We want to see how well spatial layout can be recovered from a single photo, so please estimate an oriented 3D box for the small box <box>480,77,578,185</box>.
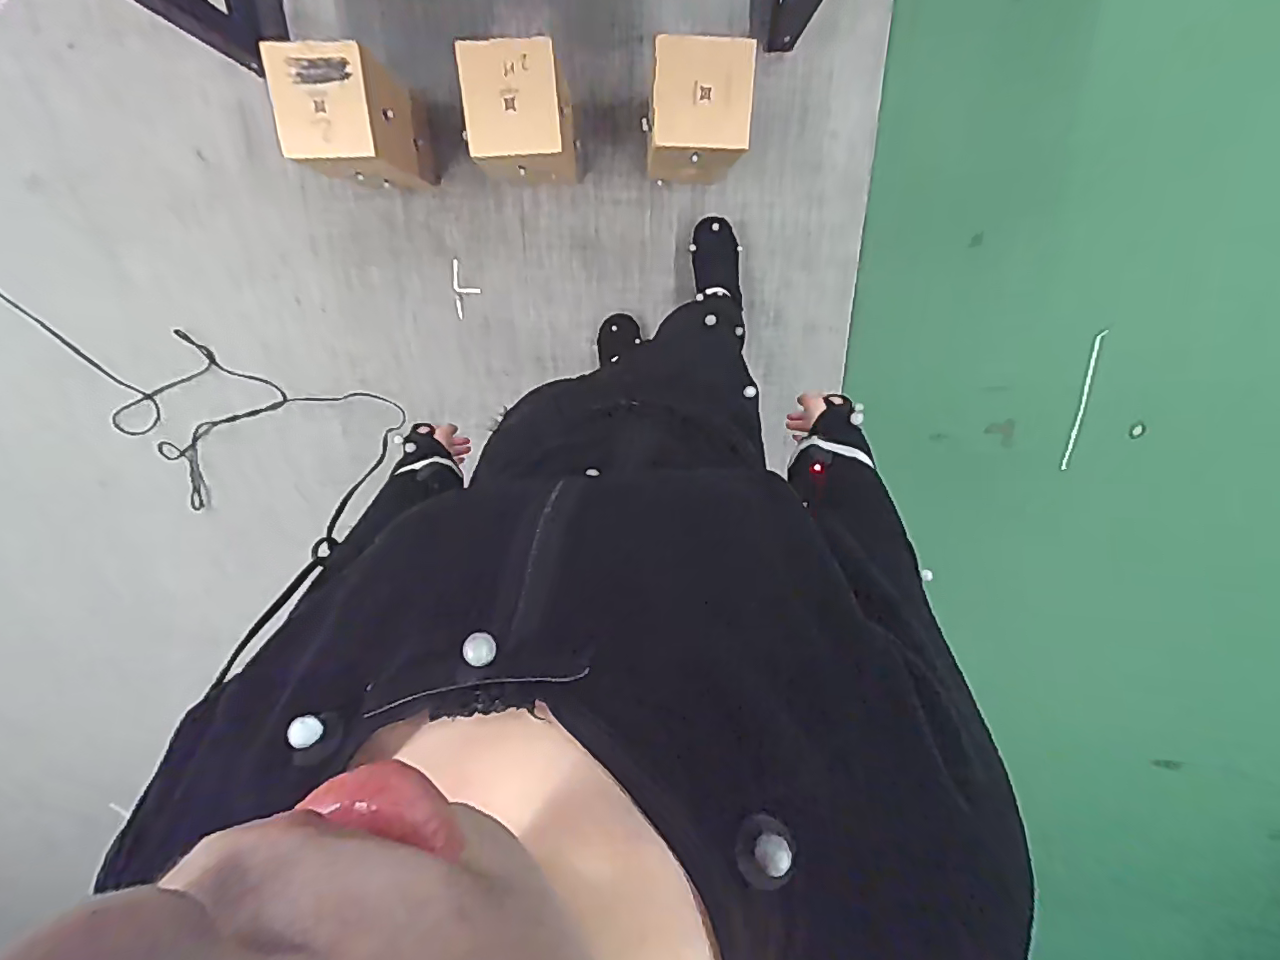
[{"bbox_3d":[-0.233,-0.749,1.176,0.179,0.176,0.168,-1,109,-1],"label":"small box"}]
